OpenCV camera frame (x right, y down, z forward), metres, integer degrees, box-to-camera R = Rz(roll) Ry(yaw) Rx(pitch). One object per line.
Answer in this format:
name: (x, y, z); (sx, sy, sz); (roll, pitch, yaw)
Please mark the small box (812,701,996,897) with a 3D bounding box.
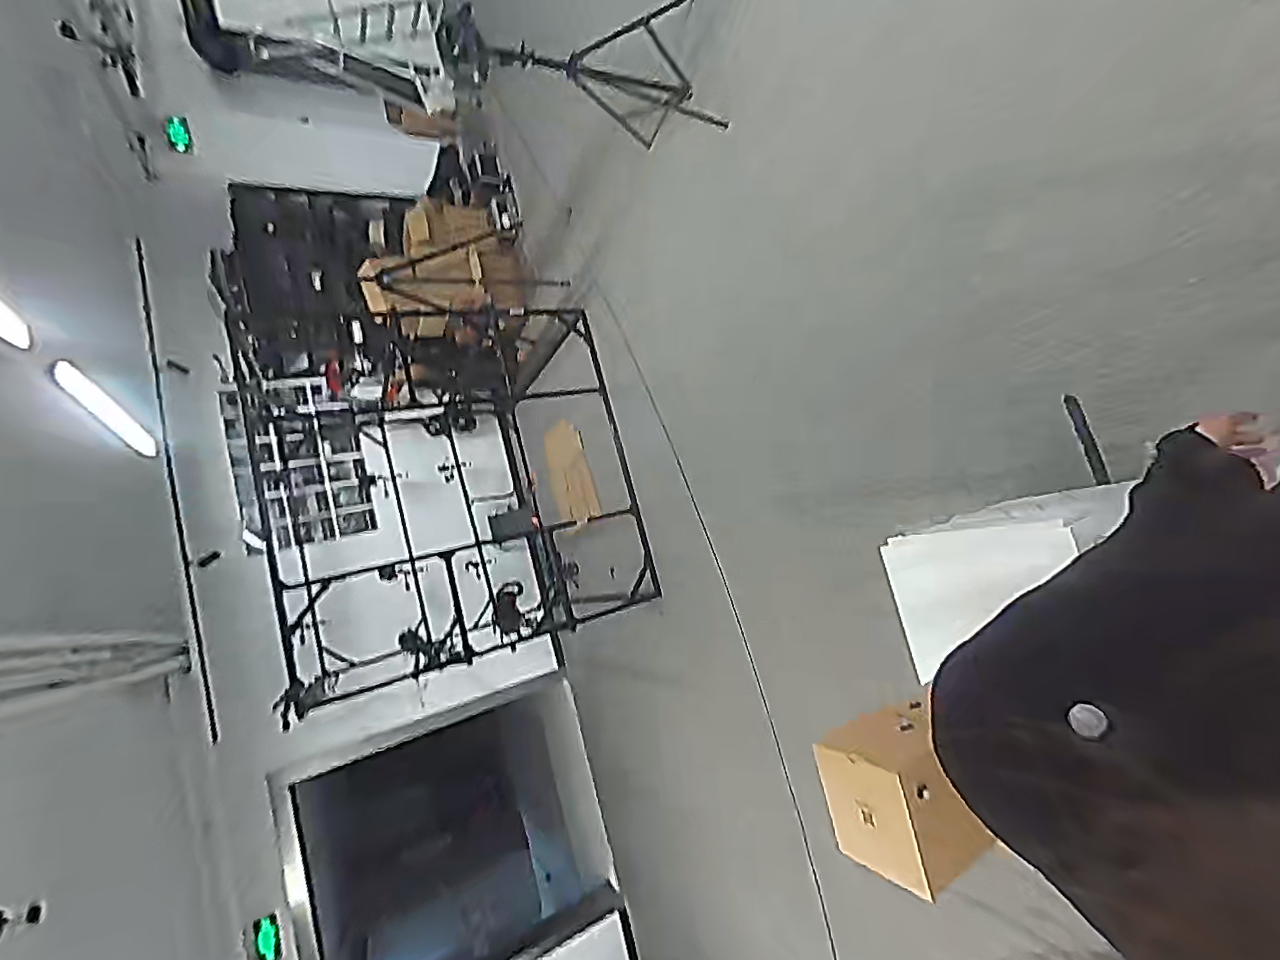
small box: (0.401, 0.467, 0.824); (0.168, 0.176, 0.179); (-22, 81, 62)
